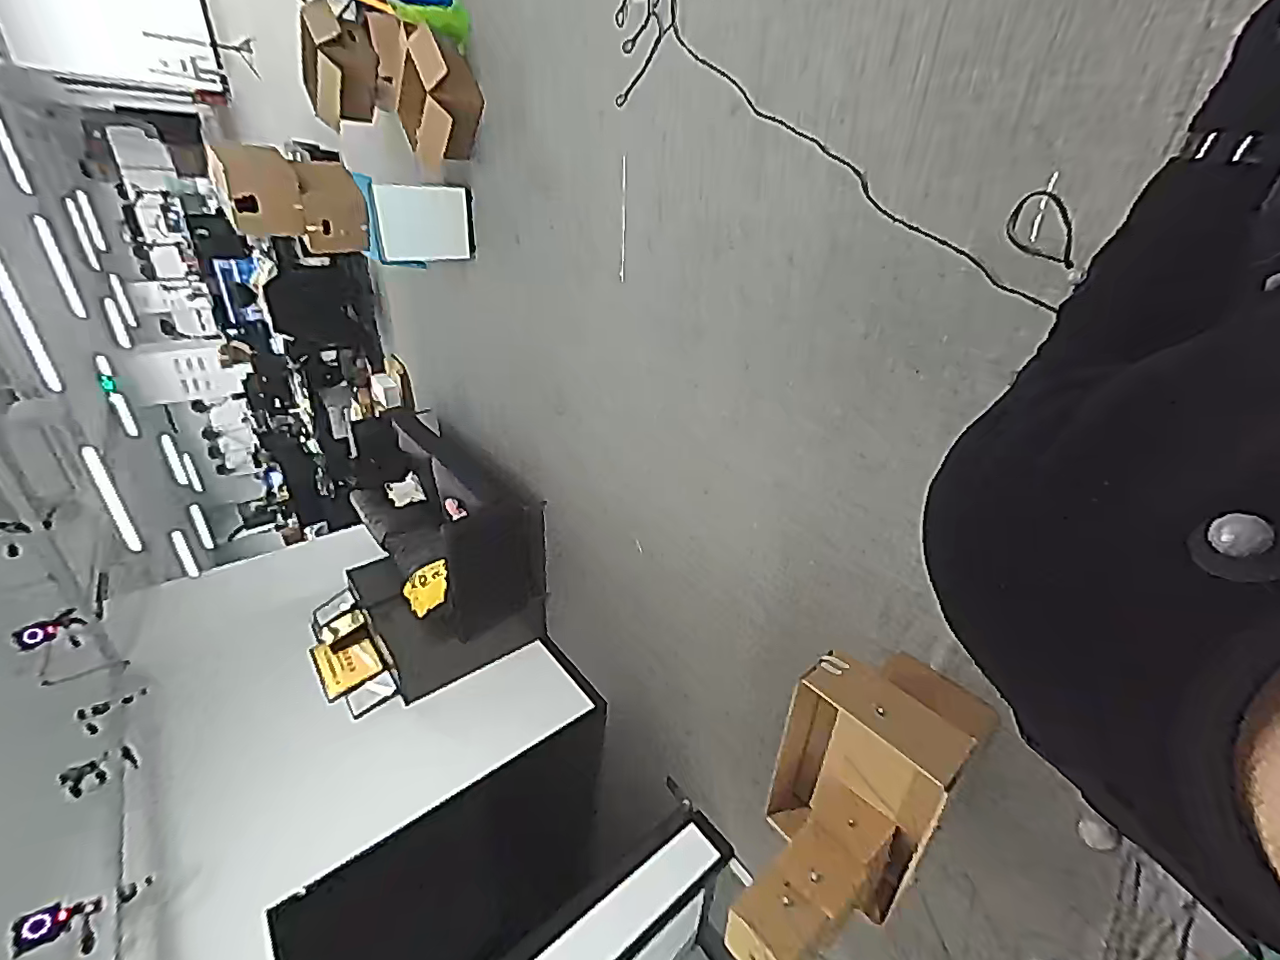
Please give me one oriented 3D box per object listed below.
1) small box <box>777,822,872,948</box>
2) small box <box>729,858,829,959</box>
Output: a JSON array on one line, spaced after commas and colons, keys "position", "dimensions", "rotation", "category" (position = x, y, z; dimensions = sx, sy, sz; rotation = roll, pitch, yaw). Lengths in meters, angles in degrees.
[{"position": [0.471, 1.036, 1.407], "dimensions": [0.179, 0.176, 0.168], "rotation": [25, 125, 44], "category": "small box"}, {"position": [0.340, 1.088, 1.321], "dimensions": [0.168, 0.176, 0.179], "rotation": [27, 126, 43], "category": "small box"}]
